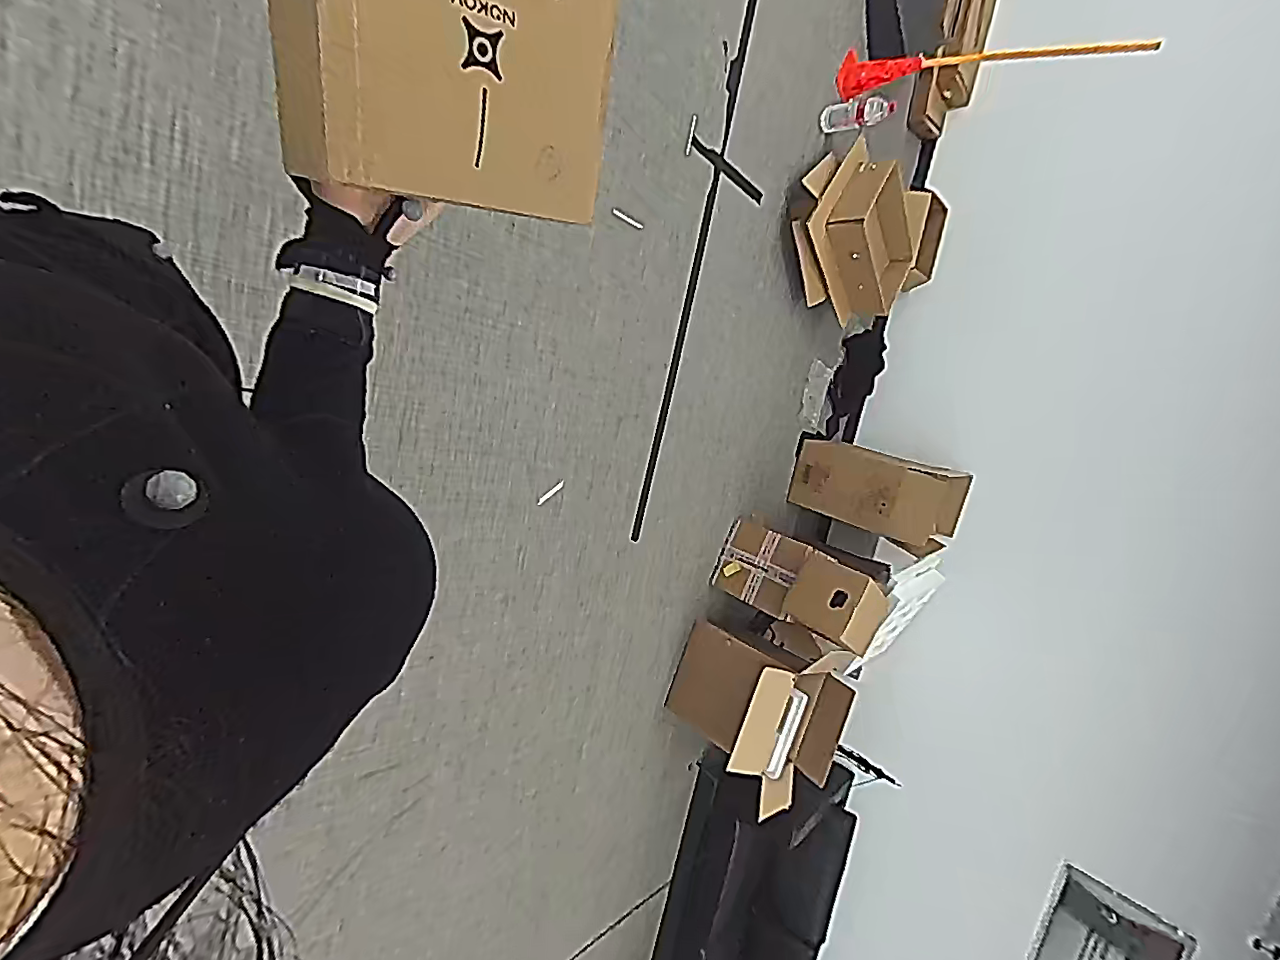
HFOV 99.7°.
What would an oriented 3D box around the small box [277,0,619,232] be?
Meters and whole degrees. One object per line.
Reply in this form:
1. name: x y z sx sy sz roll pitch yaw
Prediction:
1. small box: -0.134 -0.280 0.361 0.168 0.176 0.179 -10 121 -37
